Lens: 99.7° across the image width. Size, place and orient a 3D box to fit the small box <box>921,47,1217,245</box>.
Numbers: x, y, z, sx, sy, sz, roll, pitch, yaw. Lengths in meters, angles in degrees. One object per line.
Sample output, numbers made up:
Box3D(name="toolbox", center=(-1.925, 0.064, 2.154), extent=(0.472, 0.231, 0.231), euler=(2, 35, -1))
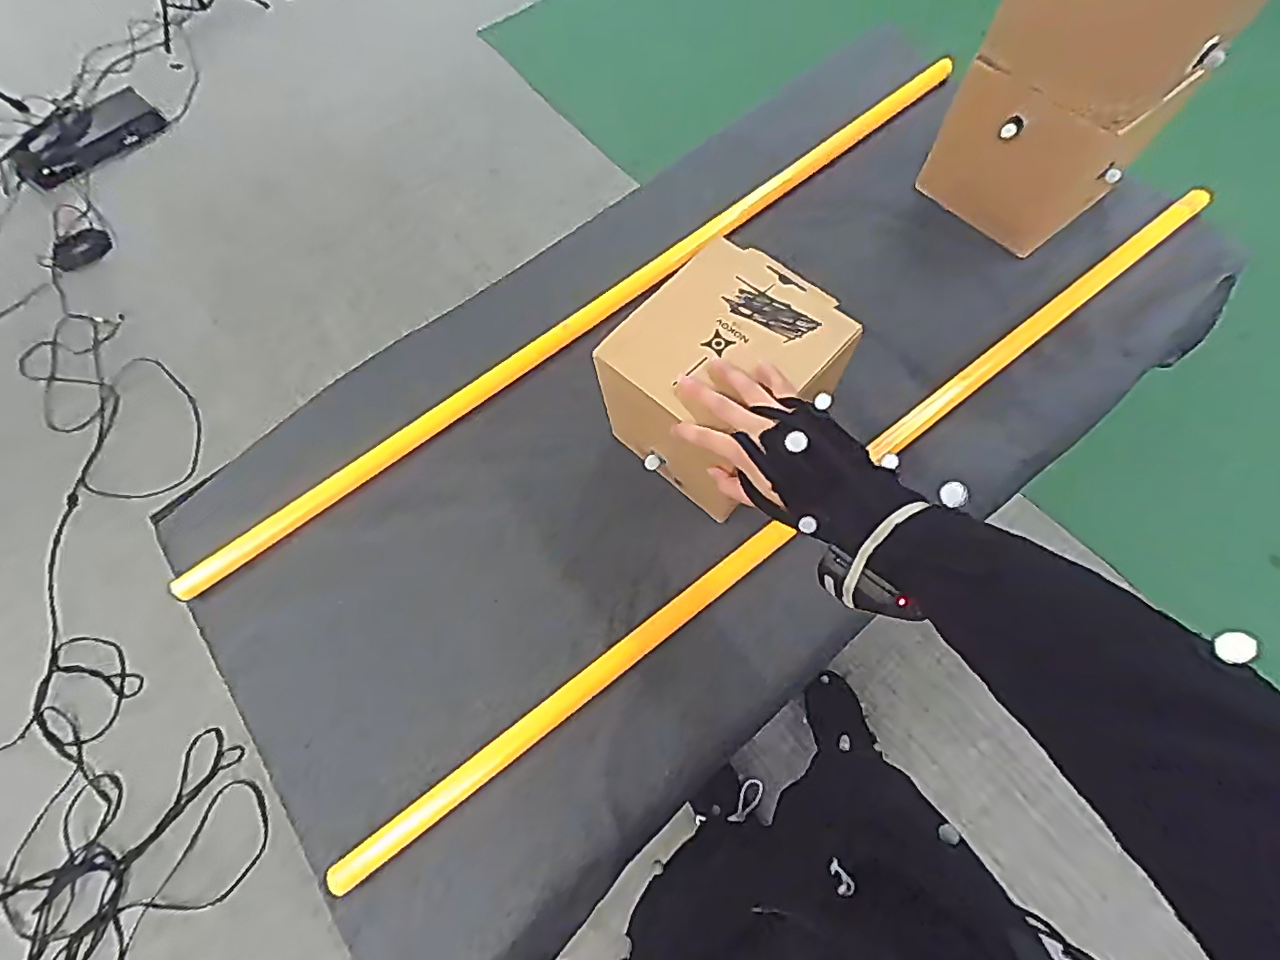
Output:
Box3D(name="small box", center=(0.481, -0.414, 0.641), extent=(0.168, 0.176, 0.179), euler=(-37, 69, -9))

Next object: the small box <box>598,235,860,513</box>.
Box3D(name="small box", center=(0.082, -0.097, 0.548), extent=(0.168, 0.176, 0.179), euler=(41, 77, 18))

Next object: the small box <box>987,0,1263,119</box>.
Box3D(name="small box", center=(0.470, -0.478, 0.492), extent=(0.168, 0.176, 0.179), euler=(-39, 70, -9))
